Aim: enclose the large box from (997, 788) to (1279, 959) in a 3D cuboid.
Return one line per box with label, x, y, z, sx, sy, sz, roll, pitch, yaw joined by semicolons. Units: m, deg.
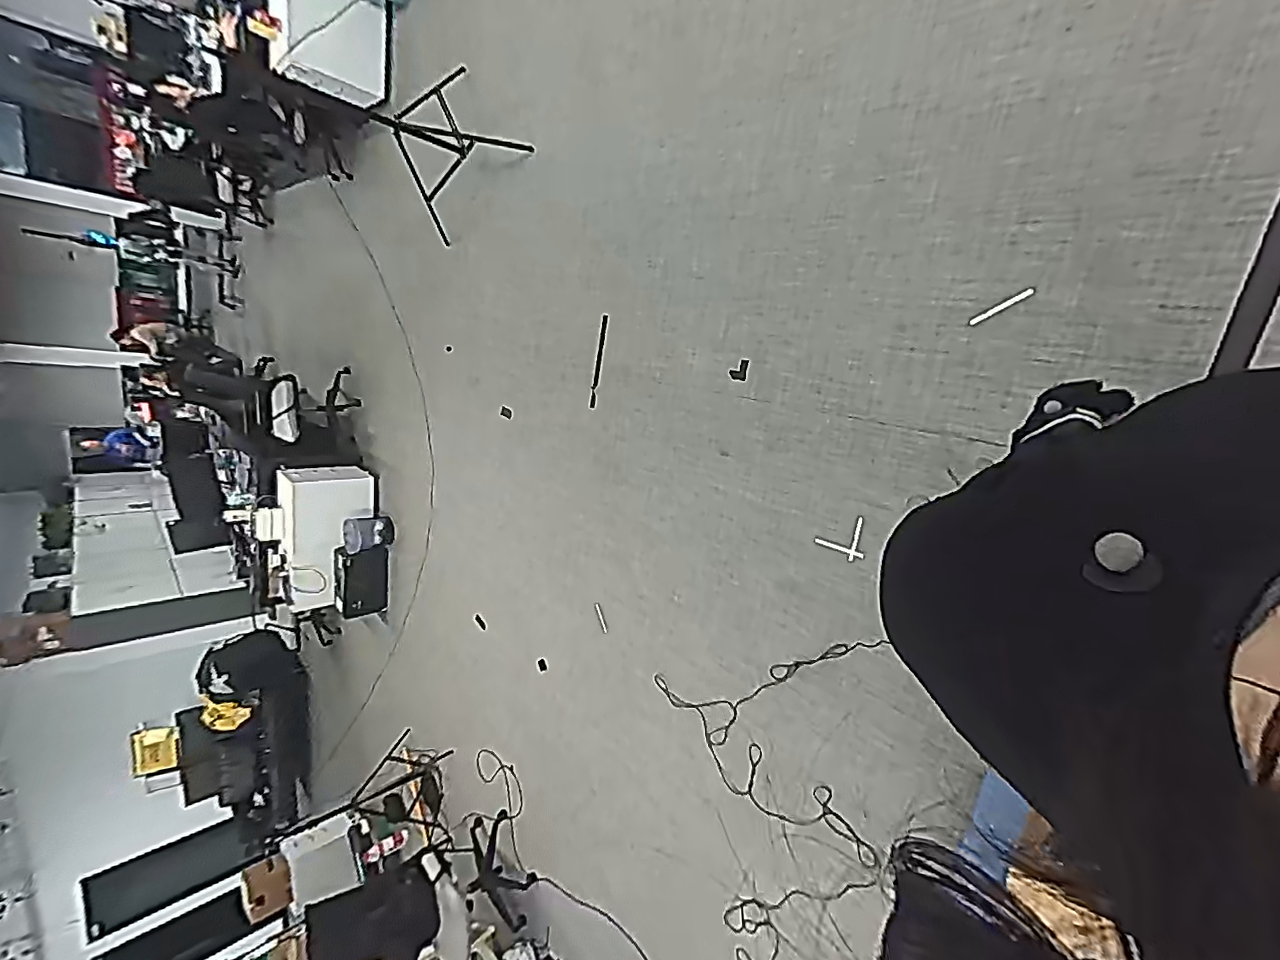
large box;0.894;0.833;0.930;0.408;0.320;0.320;11;101;45
